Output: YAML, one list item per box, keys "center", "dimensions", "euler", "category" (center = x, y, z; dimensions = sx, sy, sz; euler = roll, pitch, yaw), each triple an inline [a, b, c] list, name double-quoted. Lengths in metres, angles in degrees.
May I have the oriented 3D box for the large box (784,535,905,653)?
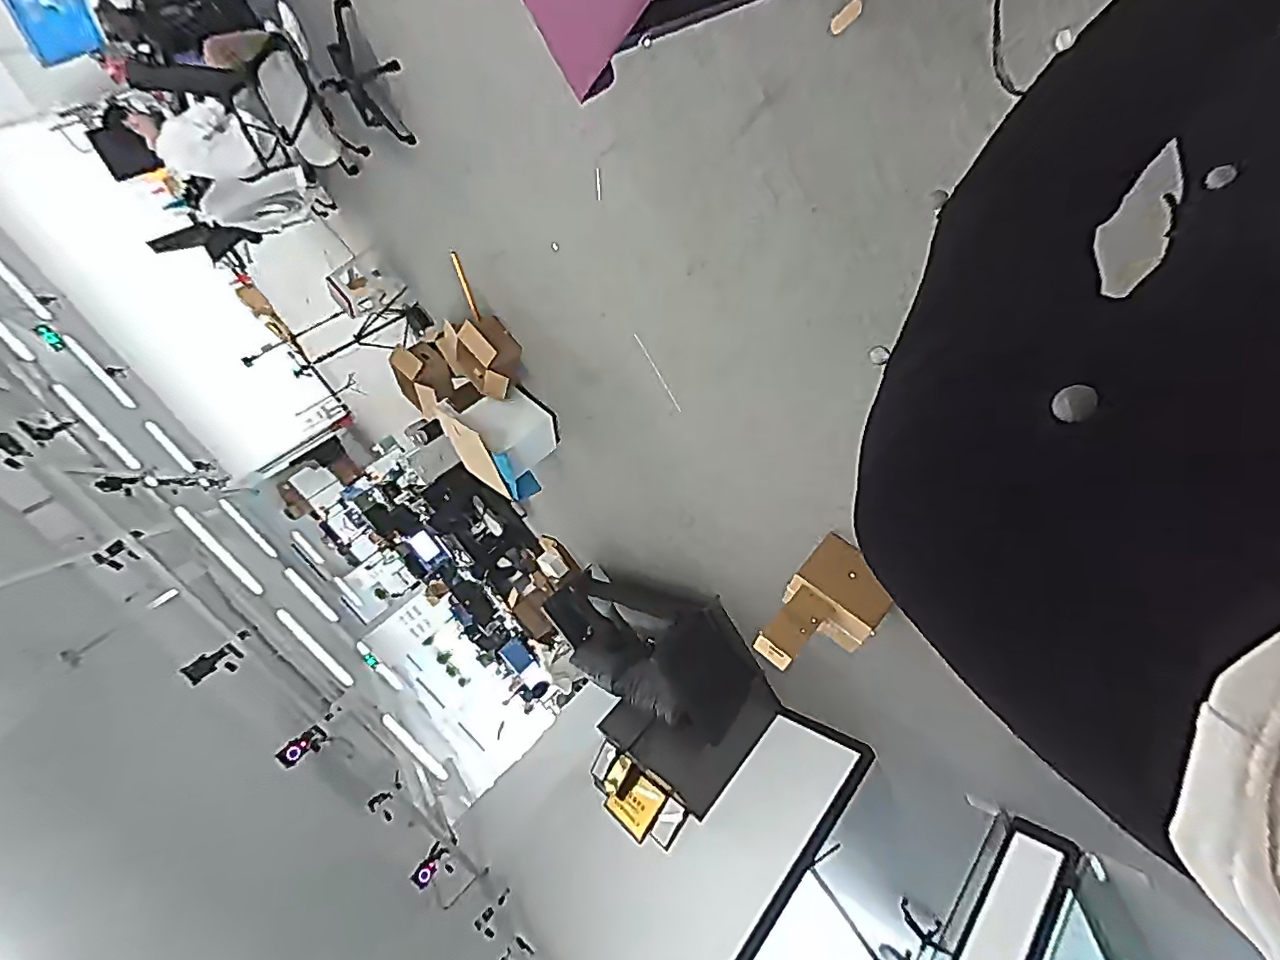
- center: [0.965, 0.539, 2.590]
  dimensions: [0.408, 0.320, 0.320]
  euler: [36, 153, 23]
  category: "large box"

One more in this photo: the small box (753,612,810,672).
- center: [0.633, 0.719, 2.413]
  dimensions: [0.168, 0.176, 0.179]
  euler: [38, 153, 23]
  category: "small box"
